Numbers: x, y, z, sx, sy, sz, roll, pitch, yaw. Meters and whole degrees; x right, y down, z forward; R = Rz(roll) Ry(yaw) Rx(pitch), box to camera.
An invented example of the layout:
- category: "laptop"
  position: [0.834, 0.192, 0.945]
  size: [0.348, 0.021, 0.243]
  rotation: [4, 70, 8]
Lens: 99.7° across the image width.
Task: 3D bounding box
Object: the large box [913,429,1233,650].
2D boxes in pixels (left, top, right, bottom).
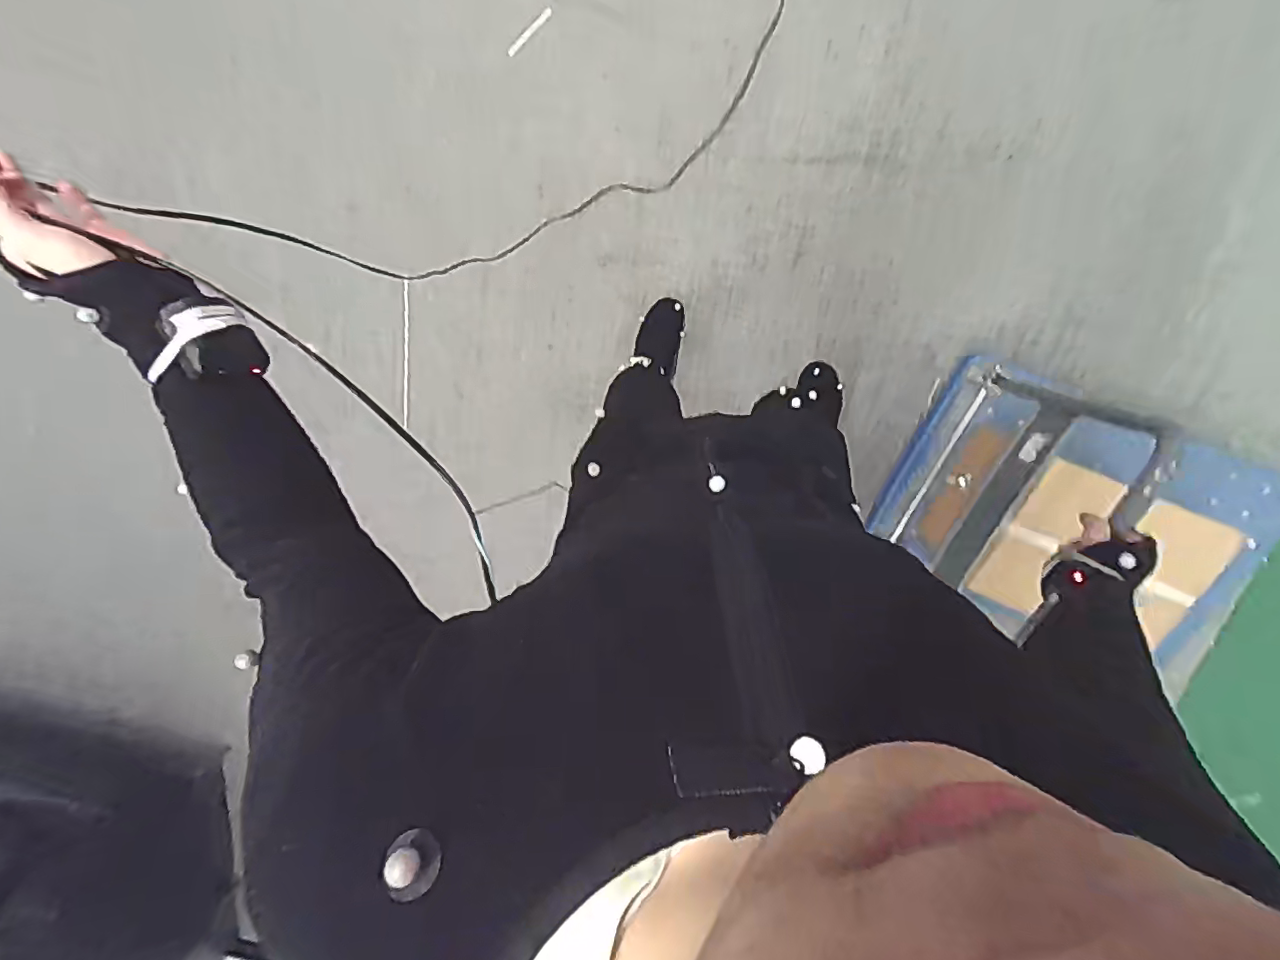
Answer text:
- category: "large box"
  position: [0.928, 0.113, 1.233]
  size: [0.408, 0.320, 0.320]
  rotation: [21, 109, 1]
